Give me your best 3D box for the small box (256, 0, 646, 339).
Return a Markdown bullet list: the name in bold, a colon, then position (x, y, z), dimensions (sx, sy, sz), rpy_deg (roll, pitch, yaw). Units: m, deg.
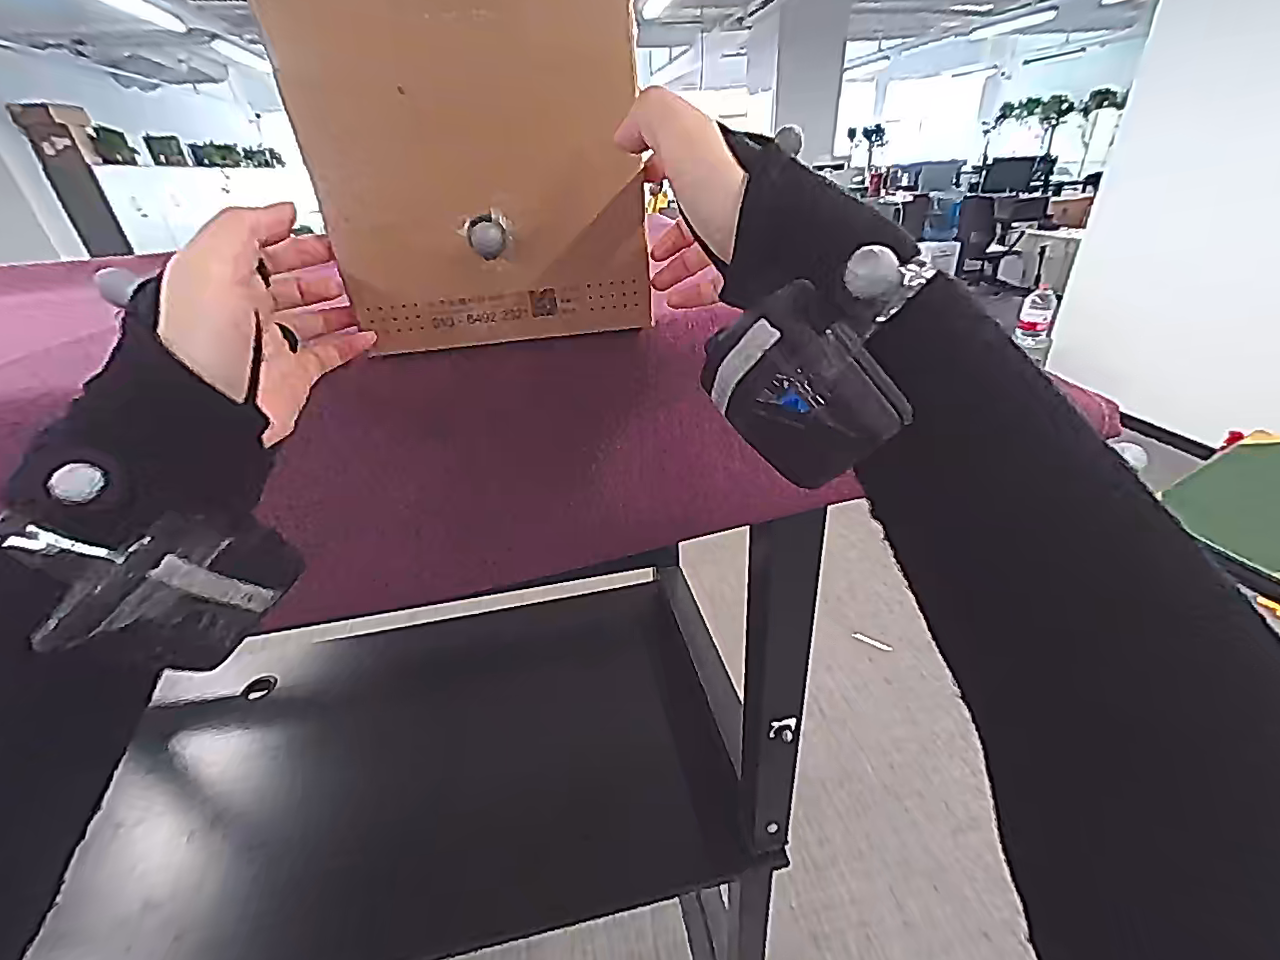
- **small box**: position (-0.089, -0.193, 0.337), dimensions (0.168, 0.176, 0.179), rpy_deg (-7, 29, -3)
